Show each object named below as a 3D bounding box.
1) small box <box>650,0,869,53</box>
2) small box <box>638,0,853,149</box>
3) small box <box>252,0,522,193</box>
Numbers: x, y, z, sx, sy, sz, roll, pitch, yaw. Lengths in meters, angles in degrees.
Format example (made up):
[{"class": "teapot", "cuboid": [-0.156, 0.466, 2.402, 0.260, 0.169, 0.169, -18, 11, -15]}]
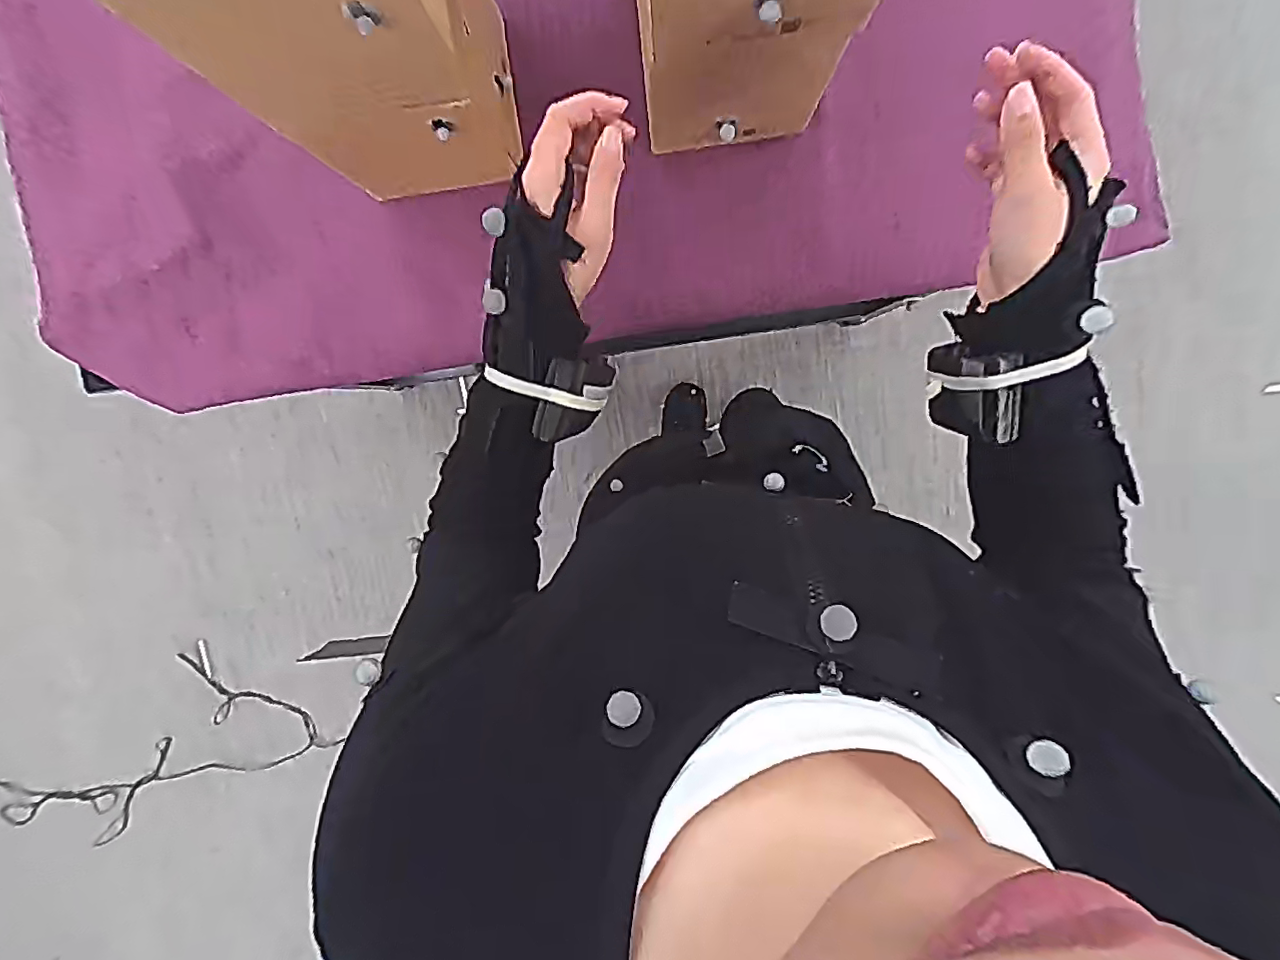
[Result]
[{"class": "small box", "cuboid": [0.079, -0.418, 0.333, 0.168, 0.176, 0.179, -6, 98, 4]}, {"class": "small box", "cuboid": [0.082, -0.442, 0.497, 0.168, 0.176, 0.179, -5, 98, 4]}, {"class": "small box", "cuboid": [-0.229, -0.399, 0.519, 0.179, 0.176, 0.168, -7, 98, 3]}]
